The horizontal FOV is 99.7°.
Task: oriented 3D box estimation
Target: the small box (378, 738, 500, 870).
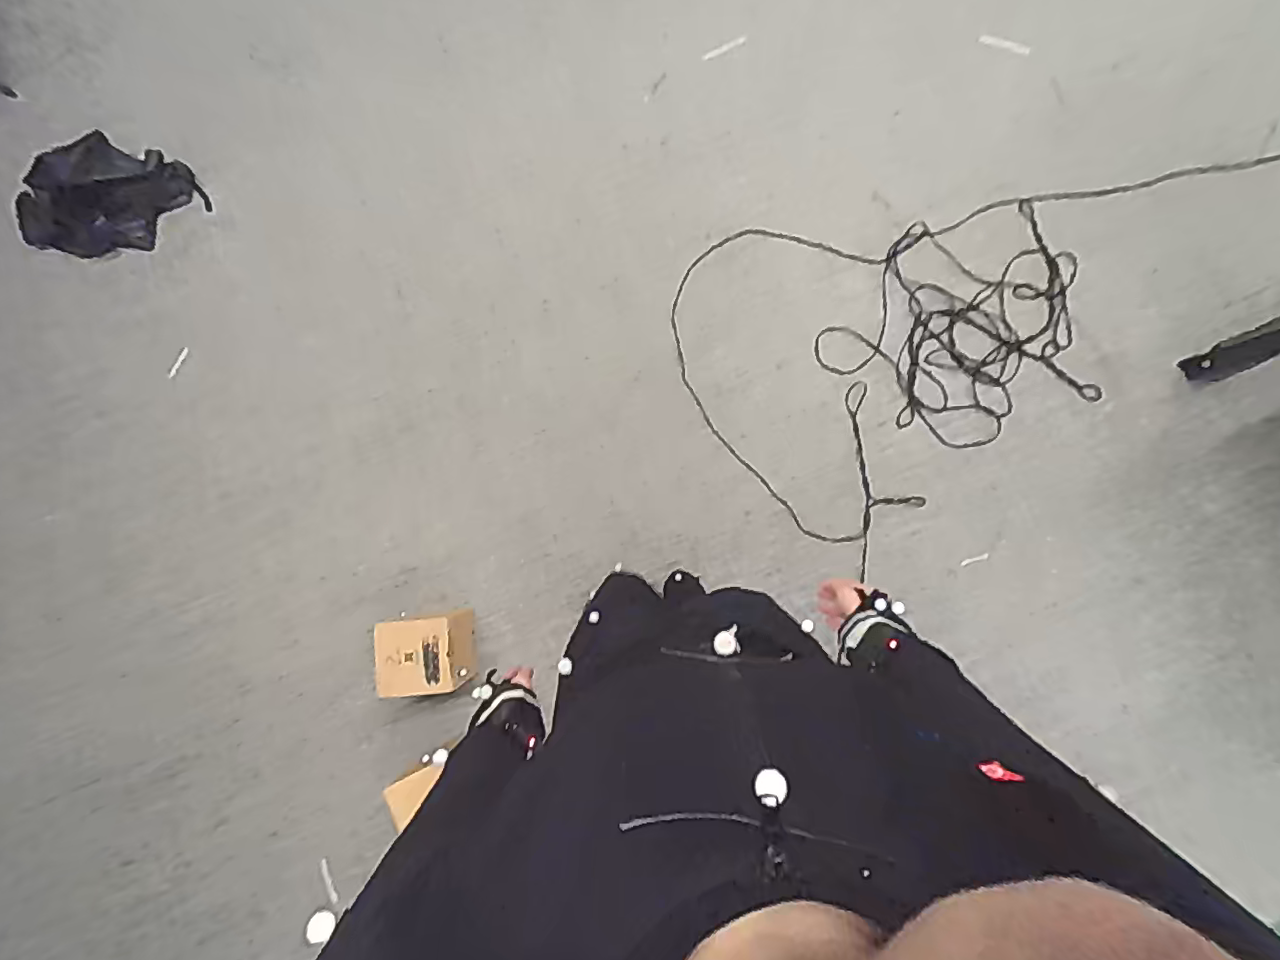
[{"bbox_3d":[-0.448,0.727,1.231,0.179,0.176,0.168,-28,83,-1],"label":"small box"}]
